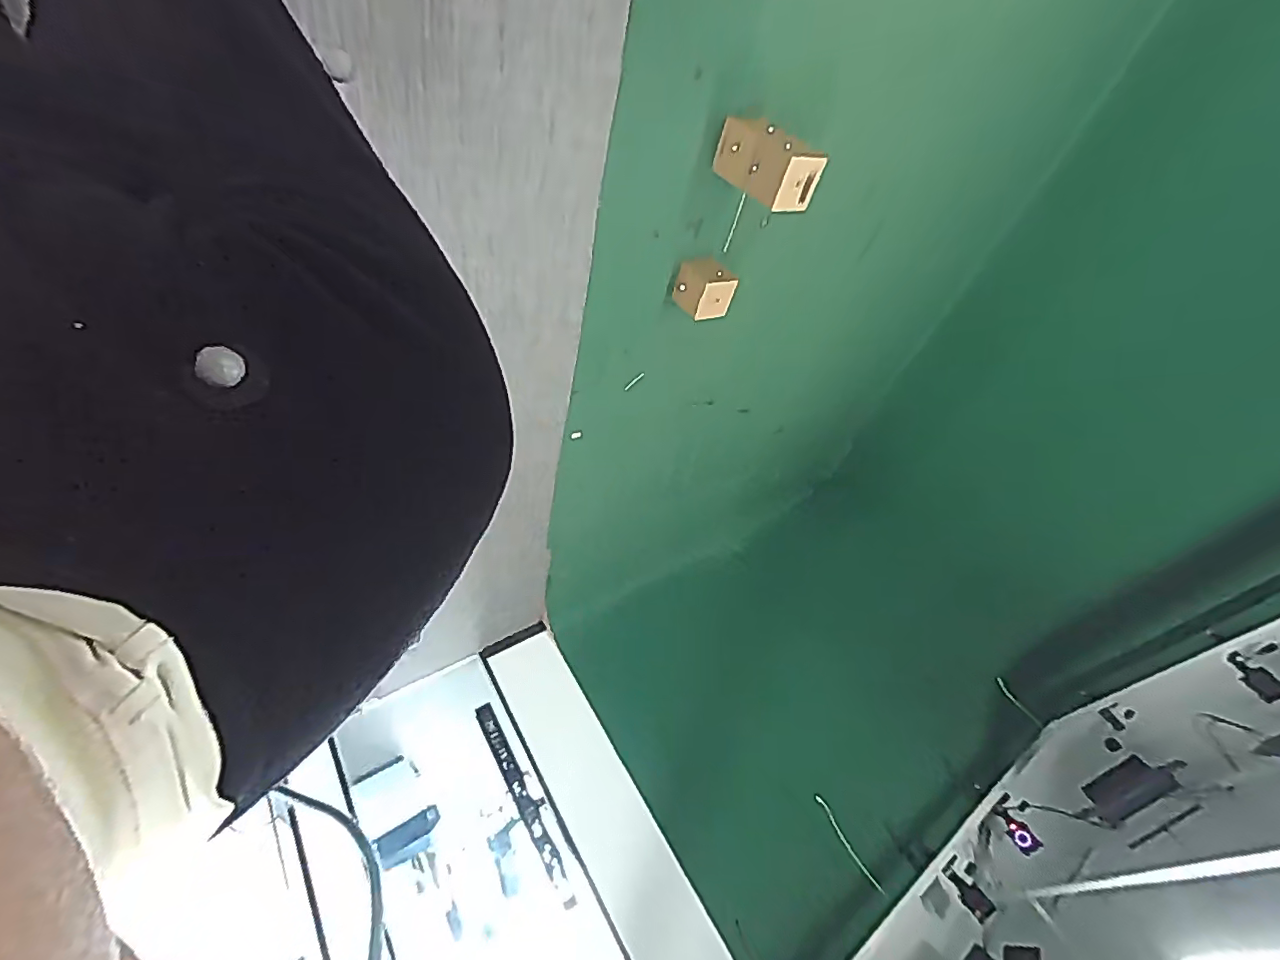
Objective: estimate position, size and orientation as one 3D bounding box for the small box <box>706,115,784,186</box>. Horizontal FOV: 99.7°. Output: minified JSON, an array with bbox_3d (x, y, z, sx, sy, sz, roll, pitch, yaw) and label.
[{"bbox_3d":[0.355,-1.139,1.869,0.179,0.176,0.168,-21,146,-32],"label":"small box"}]

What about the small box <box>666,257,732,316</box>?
[{"bbox_3d":[0.239,-0.799,2.221,0.179,0.176,0.168,-19,146,-32],"label":"small box"}]
